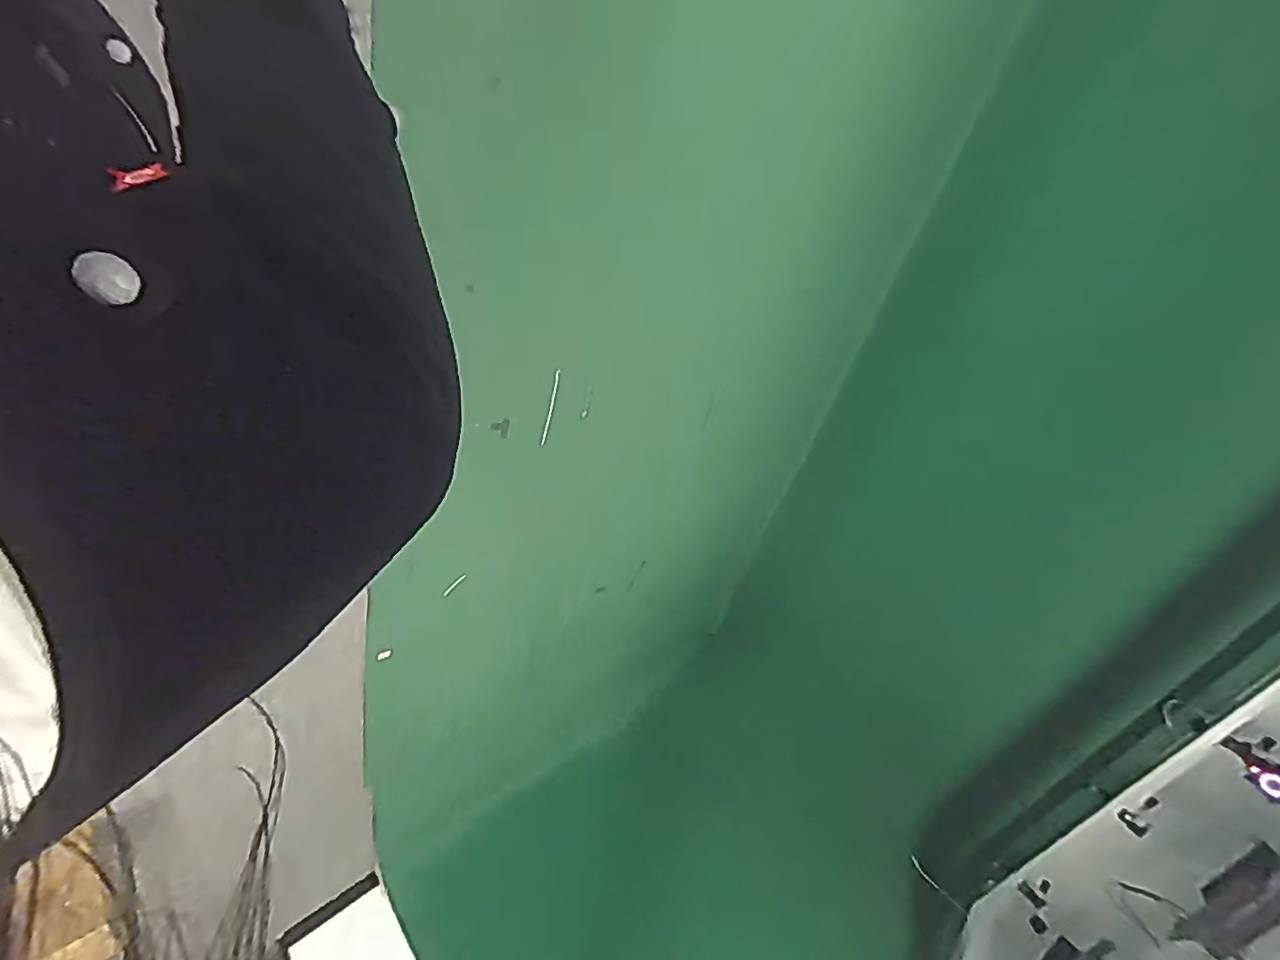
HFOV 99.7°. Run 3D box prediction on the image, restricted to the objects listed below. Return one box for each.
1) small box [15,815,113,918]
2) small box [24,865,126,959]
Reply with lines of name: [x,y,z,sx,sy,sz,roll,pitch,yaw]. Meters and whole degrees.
small box: [-1.688,1.141,1.588,0.179,0.176,0.168,-14,132,-45]
small box: [-1.578,1.236,1.514,0.168,0.176,0.179,-16,133,-46]
